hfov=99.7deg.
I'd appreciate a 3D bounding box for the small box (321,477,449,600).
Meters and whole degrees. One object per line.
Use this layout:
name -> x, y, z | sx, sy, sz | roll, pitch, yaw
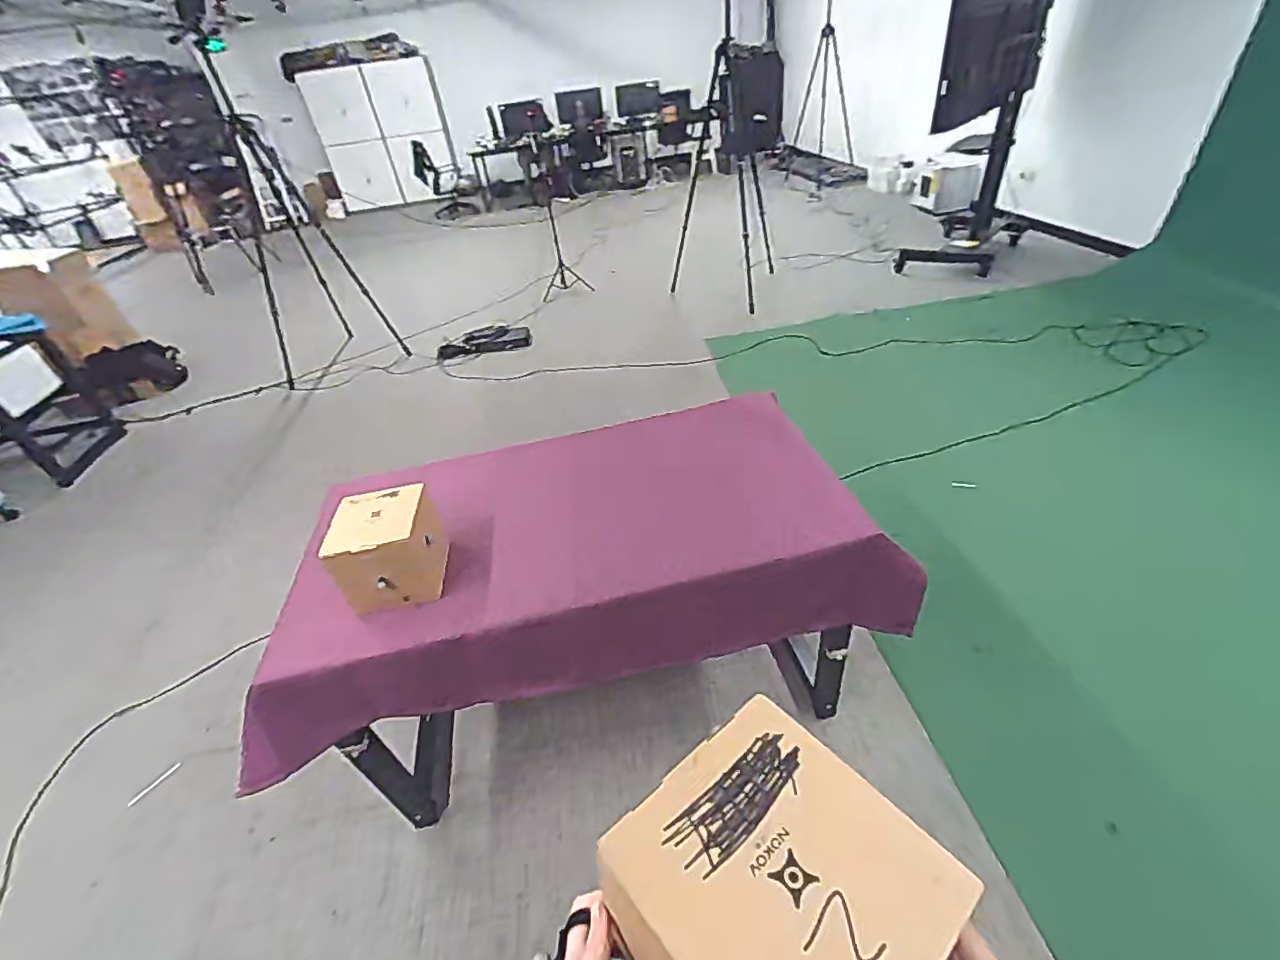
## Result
small box -> -0.495, 0.122, 1.083 | 0.168, 0.176, 0.179 | -10, 39, -3
